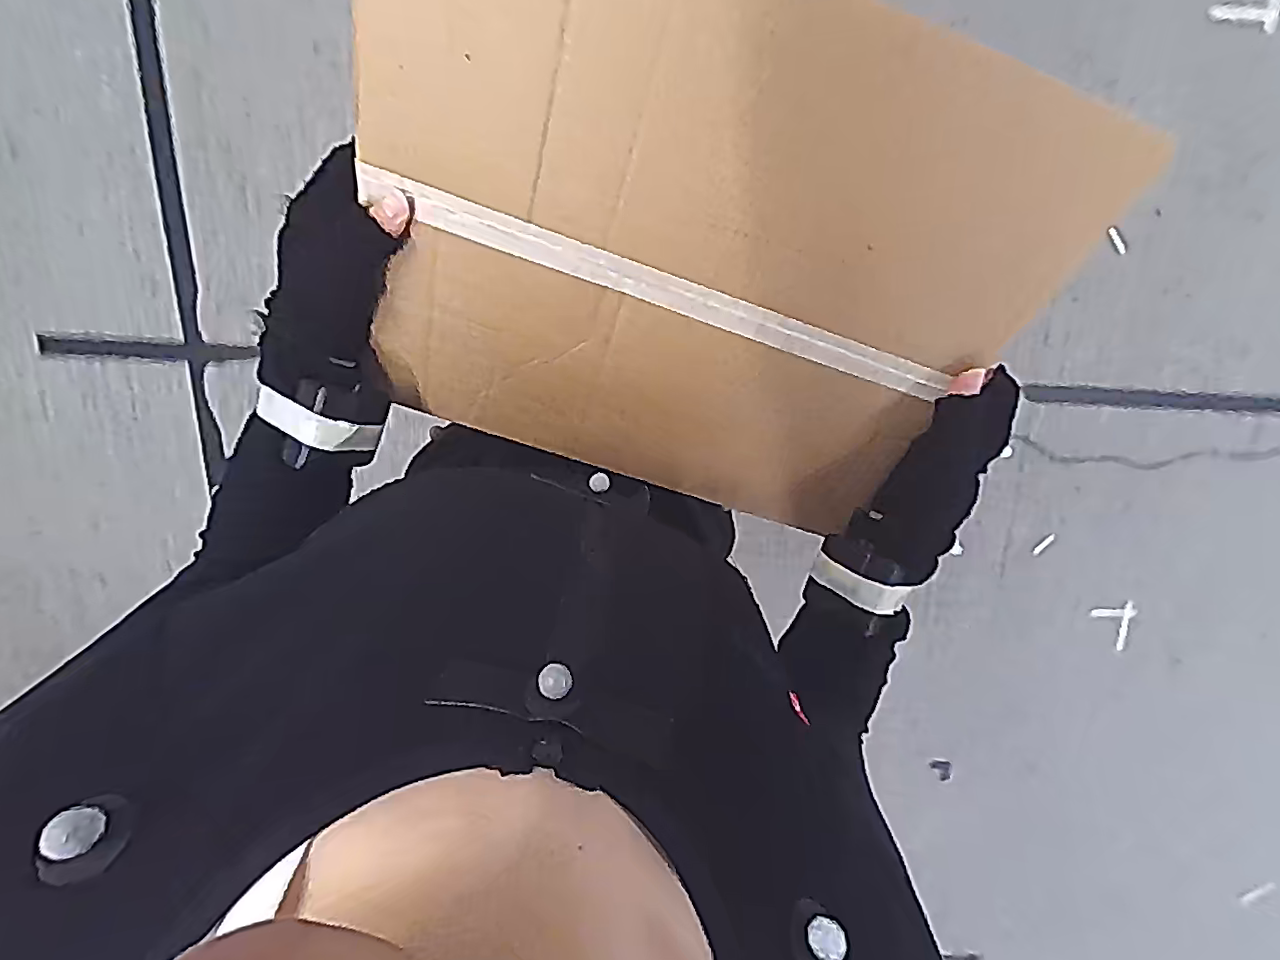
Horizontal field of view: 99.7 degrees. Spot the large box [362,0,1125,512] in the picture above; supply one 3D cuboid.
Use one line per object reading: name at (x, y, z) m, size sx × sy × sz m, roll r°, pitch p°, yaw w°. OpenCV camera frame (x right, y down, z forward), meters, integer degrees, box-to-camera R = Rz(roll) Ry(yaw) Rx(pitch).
large box at (0.038, -0.224, 0.465) m, size 0.408 × 0.320 × 0.320 m, roll 16°, pitch 131°, yaw -8°
